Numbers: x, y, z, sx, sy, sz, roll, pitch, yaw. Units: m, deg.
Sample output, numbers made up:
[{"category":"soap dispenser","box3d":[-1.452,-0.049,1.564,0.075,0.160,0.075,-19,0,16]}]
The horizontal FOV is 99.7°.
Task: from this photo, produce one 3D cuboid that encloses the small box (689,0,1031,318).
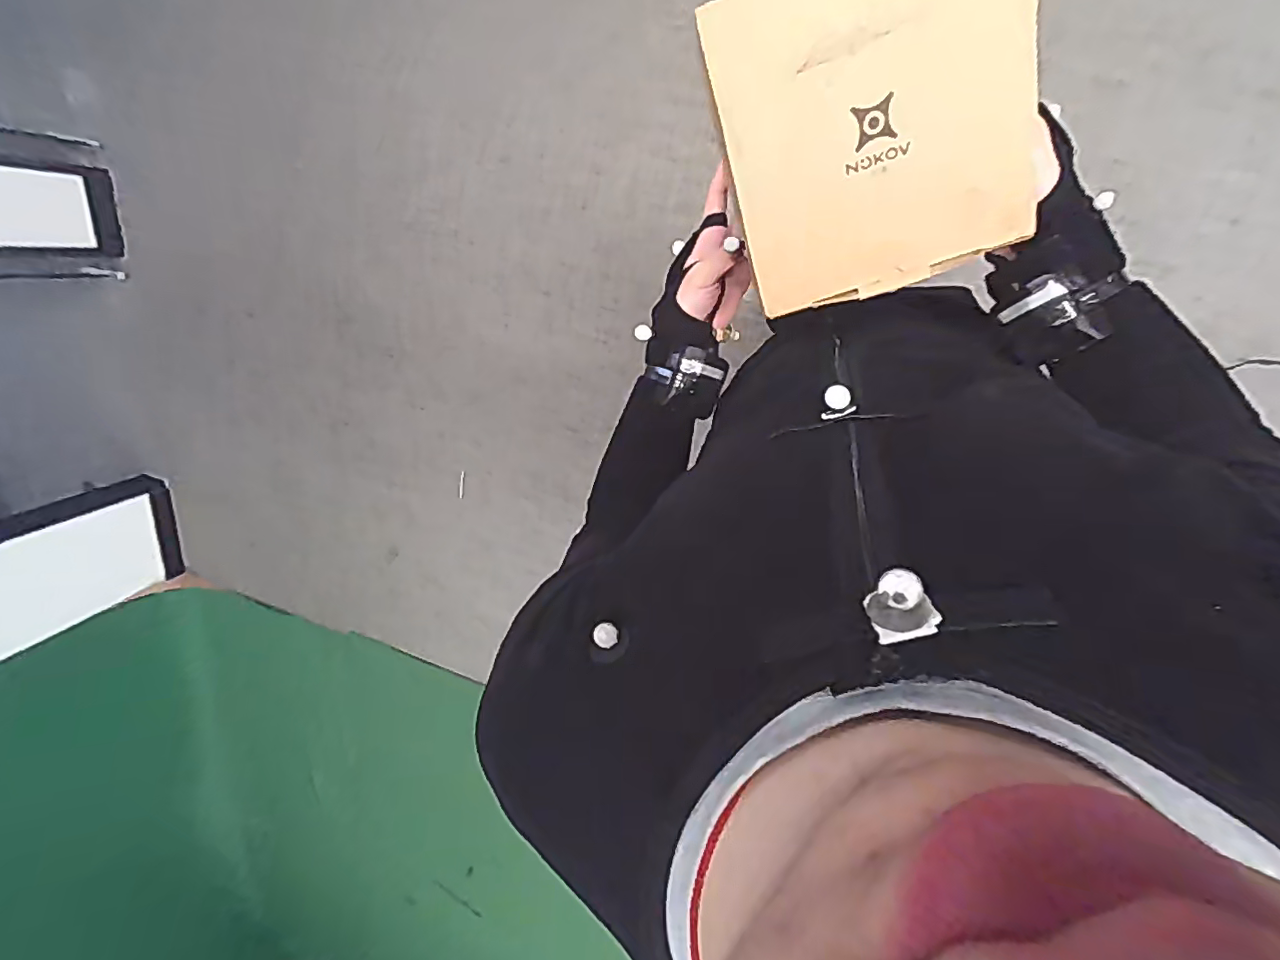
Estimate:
[{"category":"small box","box3d":[0.139,-0.240,0.376,0.168,0.176,0.179,-15,118,15]}]
